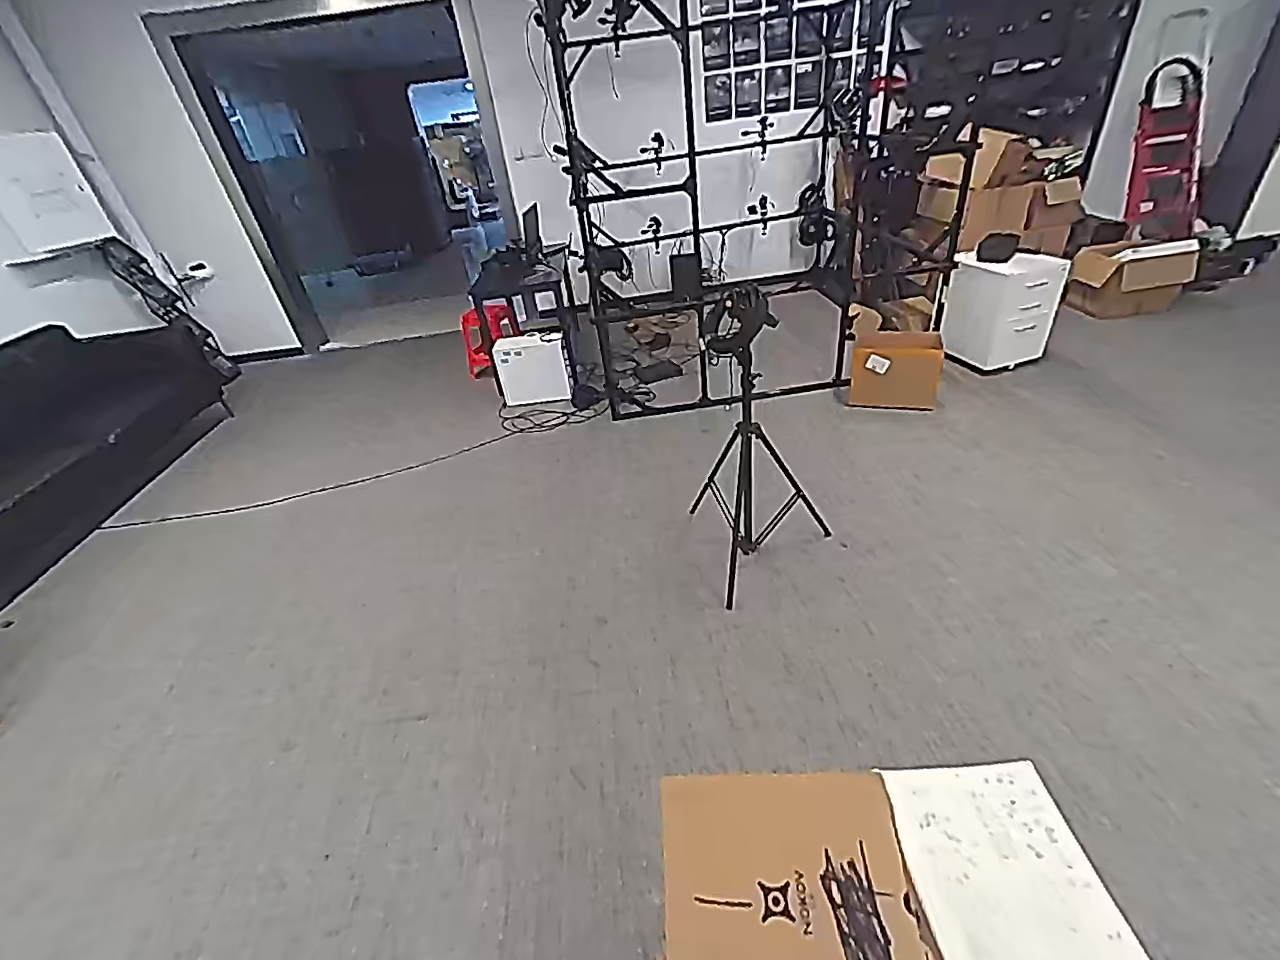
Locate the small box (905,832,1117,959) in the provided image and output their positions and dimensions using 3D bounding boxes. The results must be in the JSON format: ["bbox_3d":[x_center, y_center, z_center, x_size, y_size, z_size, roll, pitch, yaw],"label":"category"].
[{"bbox_3d":[0.404,0.541,0.617,0.168,0.176,0.179,-6,34,-1],"label":"small box"}]

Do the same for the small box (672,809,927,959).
[{"bbox_3d":[0.116,0.376,0.439,0.179,0.176,0.168,-3,50,5],"label":"small box"}]
